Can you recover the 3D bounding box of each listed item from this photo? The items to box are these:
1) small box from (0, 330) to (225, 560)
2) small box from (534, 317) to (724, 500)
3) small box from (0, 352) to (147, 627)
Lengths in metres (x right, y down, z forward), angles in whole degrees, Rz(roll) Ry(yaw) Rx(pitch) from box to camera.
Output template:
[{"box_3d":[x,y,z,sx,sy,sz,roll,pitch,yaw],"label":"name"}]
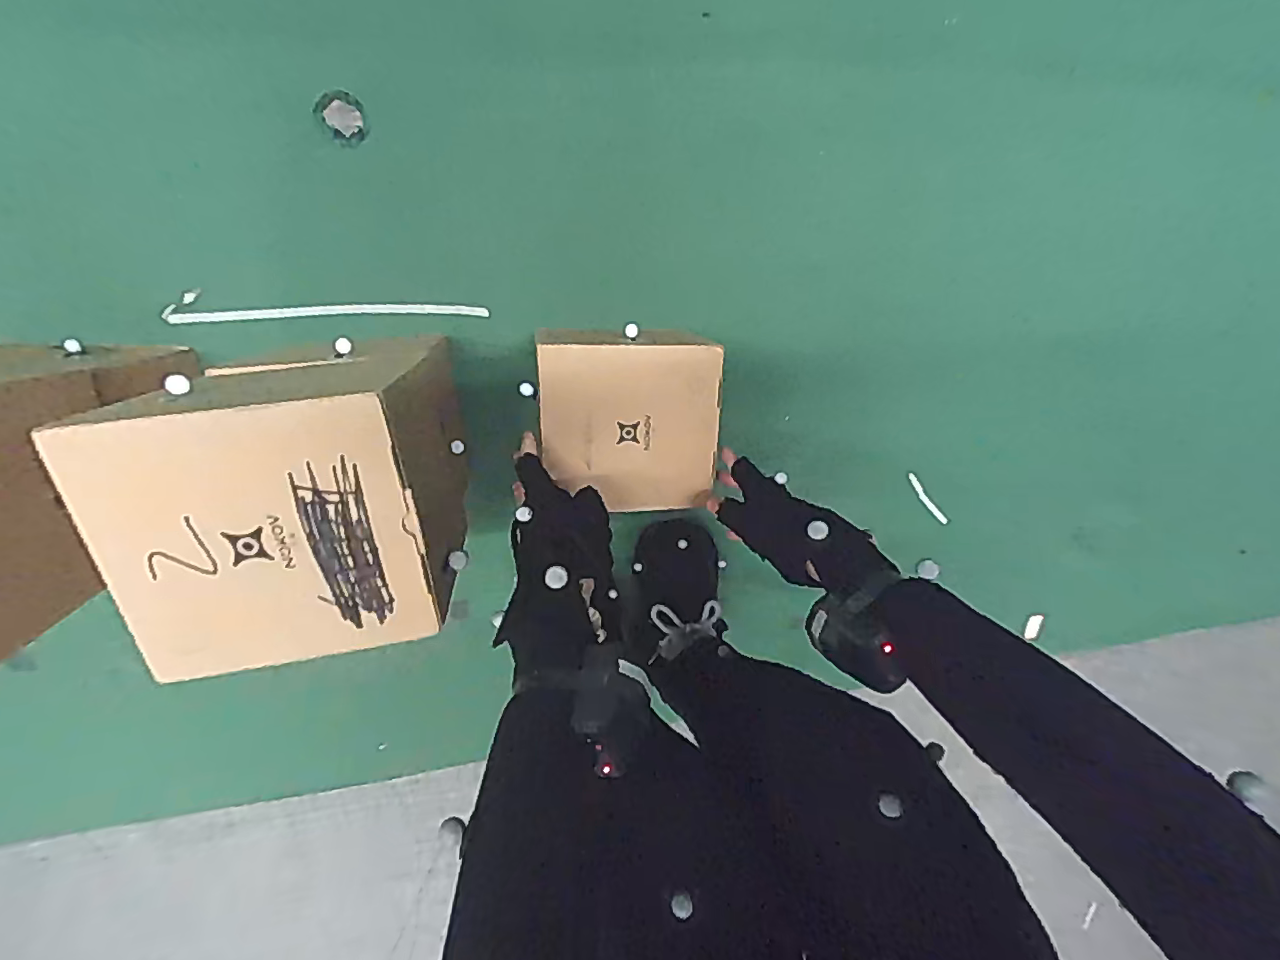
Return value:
[{"box_3d":[-0.532,-0.039,0.507,0.168,0.176,0.179,-1,110,-11],"label":"small box"},{"box_3d":[-0.024,-0.087,0.594,0.179,0.176,0.168,-2,111,-11],"label":"small box"},{"box_3d":[-0.492,0.008,0.353,0.179,0.176,0.168,-2,111,-11],"label":"small box"}]
